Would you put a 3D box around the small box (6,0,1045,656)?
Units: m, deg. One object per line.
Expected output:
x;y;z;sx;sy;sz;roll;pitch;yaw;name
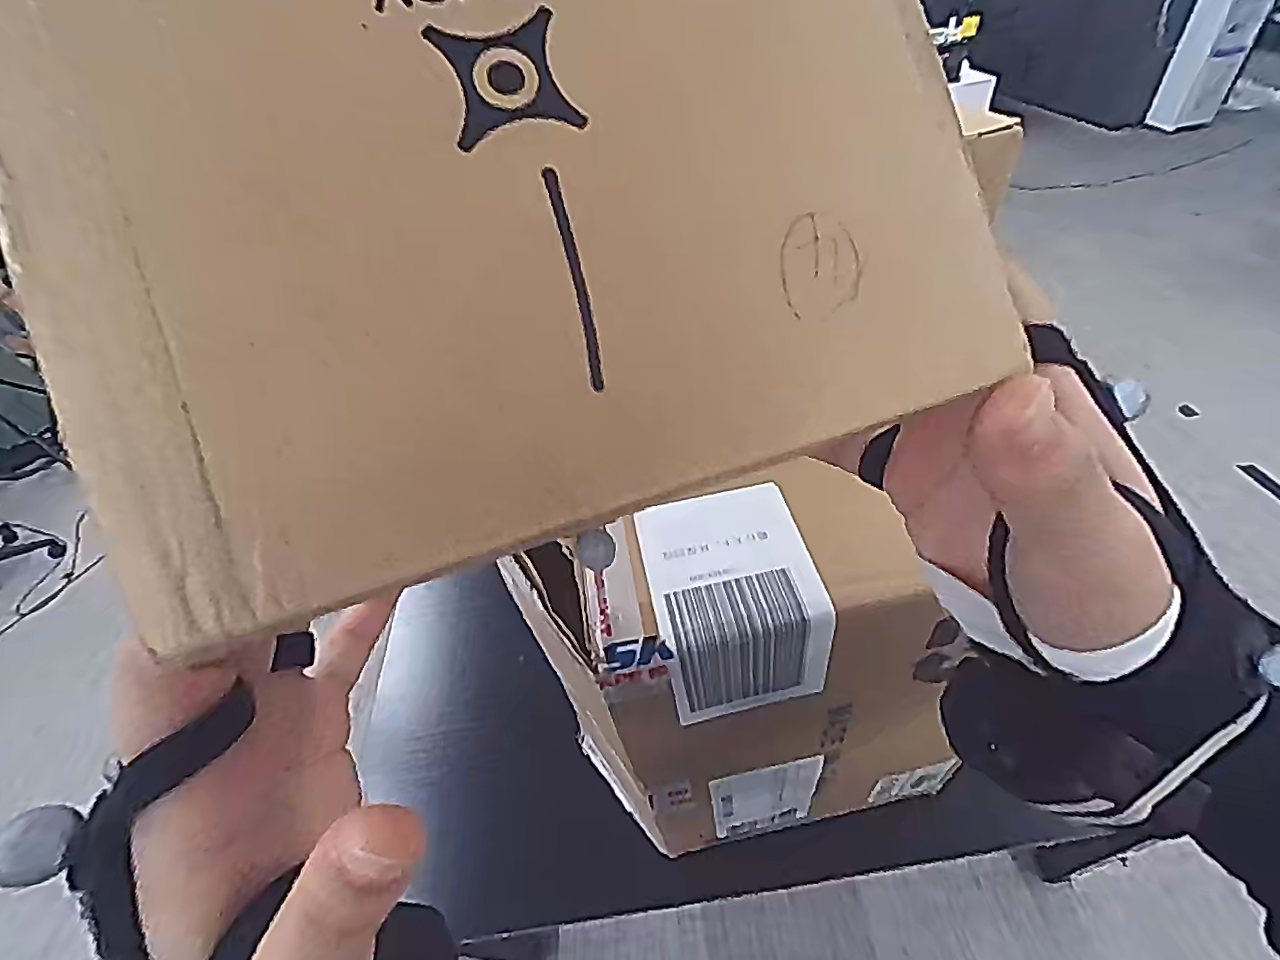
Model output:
-0.031;-0.067;0.181;0.168;0.176;0.179;-18;87;-10;small box

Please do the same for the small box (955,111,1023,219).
0.172;-0.210;0.472;0.168;0.176;0.179;-12;43;-2;small box
